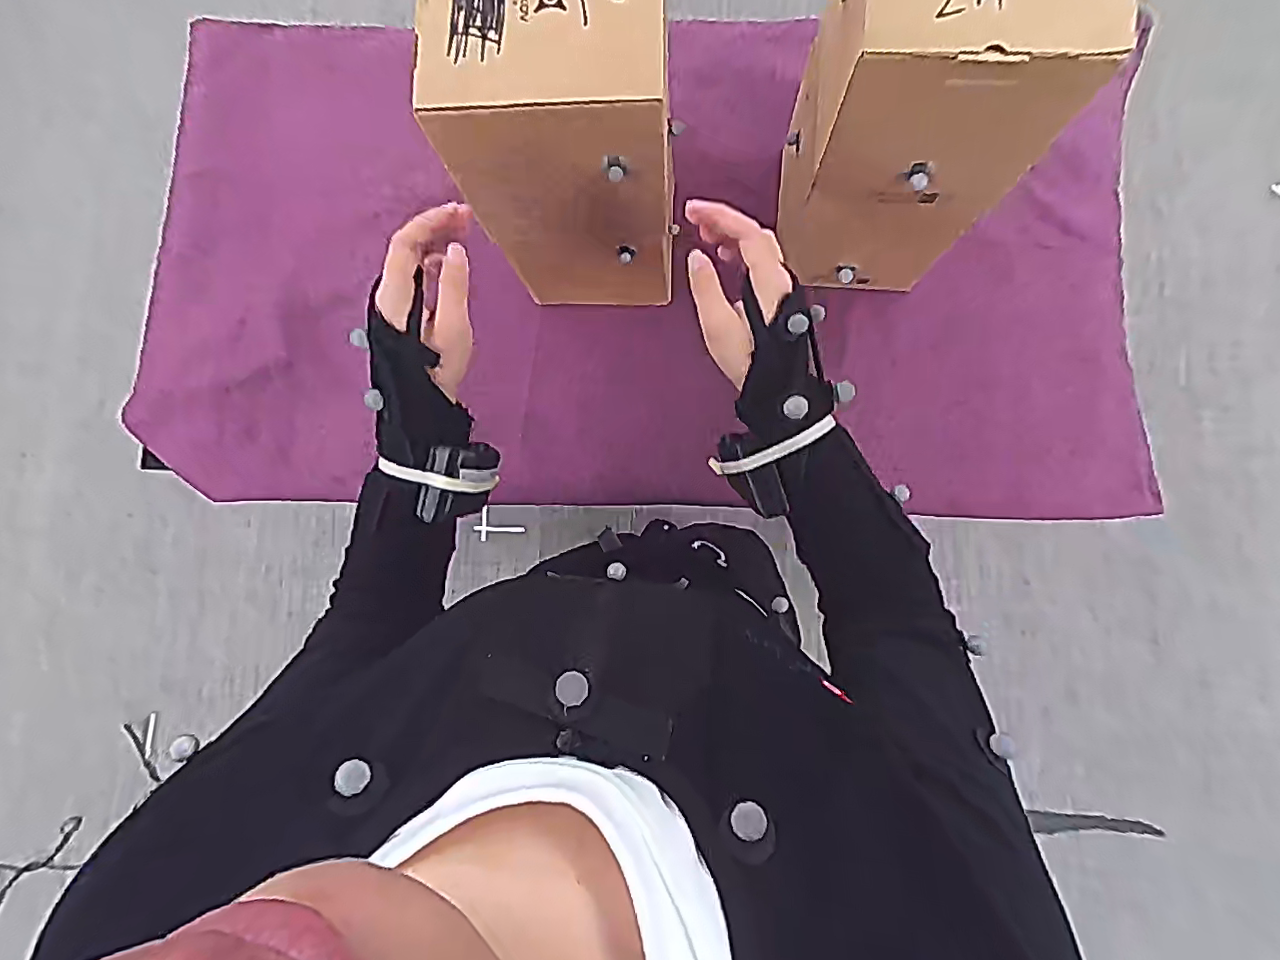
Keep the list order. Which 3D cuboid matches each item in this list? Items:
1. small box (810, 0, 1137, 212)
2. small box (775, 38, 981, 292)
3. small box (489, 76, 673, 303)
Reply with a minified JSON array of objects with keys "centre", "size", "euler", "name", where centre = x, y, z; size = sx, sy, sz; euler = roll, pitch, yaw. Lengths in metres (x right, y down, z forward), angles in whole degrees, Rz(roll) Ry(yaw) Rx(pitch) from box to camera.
[{"centre":[0.239,-0.346,0.428],"size":[0.168,0.176,0.179],"euler":[5,85,6],"name":"small box"},{"centre":[0.248,-0.330,0.592],"size":[0.168,0.176,0.179],"euler":[5,85,5],"name":"small box"},{"centre":[-0.054,-0.314,0.615],"size":[0.179,0.176,0.168],"euler":[2,84,4],"name":"small box"}]
